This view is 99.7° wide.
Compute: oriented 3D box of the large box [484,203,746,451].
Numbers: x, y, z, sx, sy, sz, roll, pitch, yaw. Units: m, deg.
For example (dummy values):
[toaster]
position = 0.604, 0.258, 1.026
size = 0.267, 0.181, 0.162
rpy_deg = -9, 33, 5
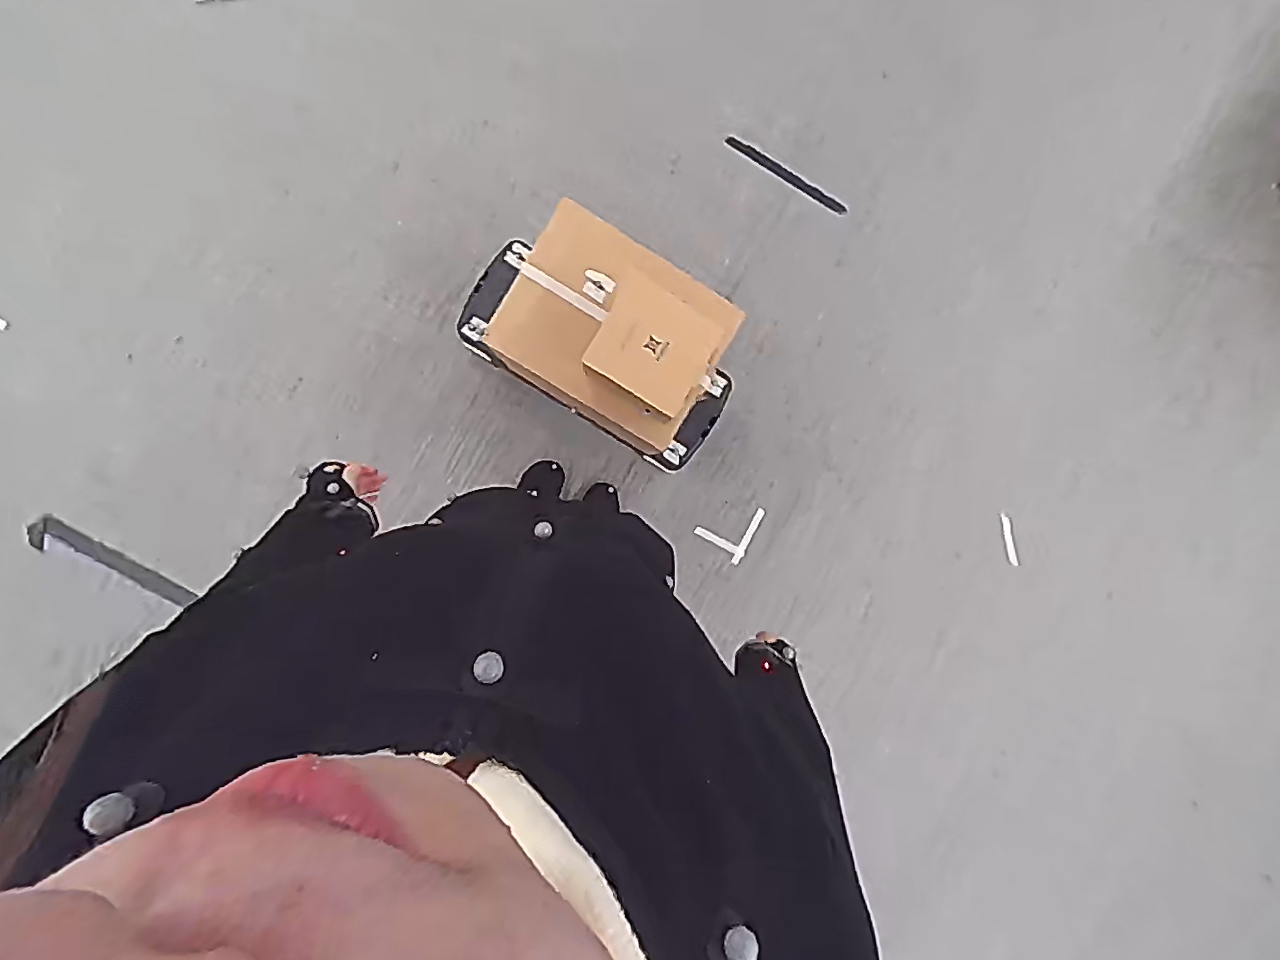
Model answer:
[large box]
position = -0.049, -0.287, 1.153
size = 0.408, 0.320, 0.320
rpy_deg = 31, 89, -4

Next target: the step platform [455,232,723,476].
[step platform]
position = -0.122, -0.307, 1.386
size = 0.684, 0.204, 0.286
rpy_deg = 37, 89, -4

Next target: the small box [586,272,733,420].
[small box]
position = 0.026, -0.212, 0.915
size = 0.179, 0.176, 0.168
rpy_deg = 32, 90, -4
